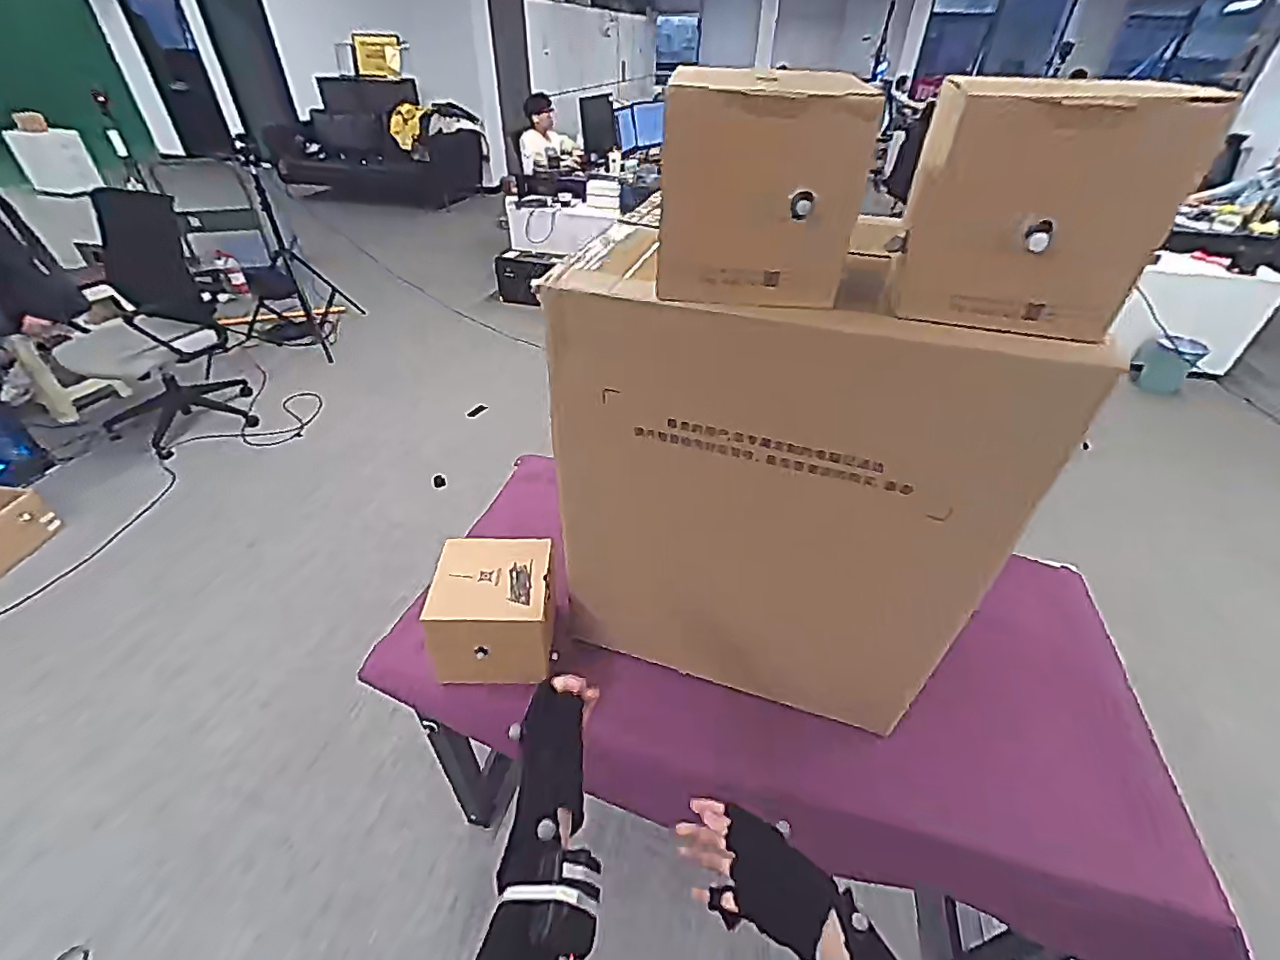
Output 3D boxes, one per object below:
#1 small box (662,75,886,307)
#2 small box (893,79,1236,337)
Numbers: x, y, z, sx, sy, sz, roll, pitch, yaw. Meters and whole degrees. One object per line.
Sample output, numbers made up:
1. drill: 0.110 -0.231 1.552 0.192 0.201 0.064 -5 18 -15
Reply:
1. small box: 0.111 -0.279 0.522 0.168 0.176 0.179 5 39 3
2. small box: 0.337 -0.244 0.480 0.168 0.176 0.179 13 42 14
